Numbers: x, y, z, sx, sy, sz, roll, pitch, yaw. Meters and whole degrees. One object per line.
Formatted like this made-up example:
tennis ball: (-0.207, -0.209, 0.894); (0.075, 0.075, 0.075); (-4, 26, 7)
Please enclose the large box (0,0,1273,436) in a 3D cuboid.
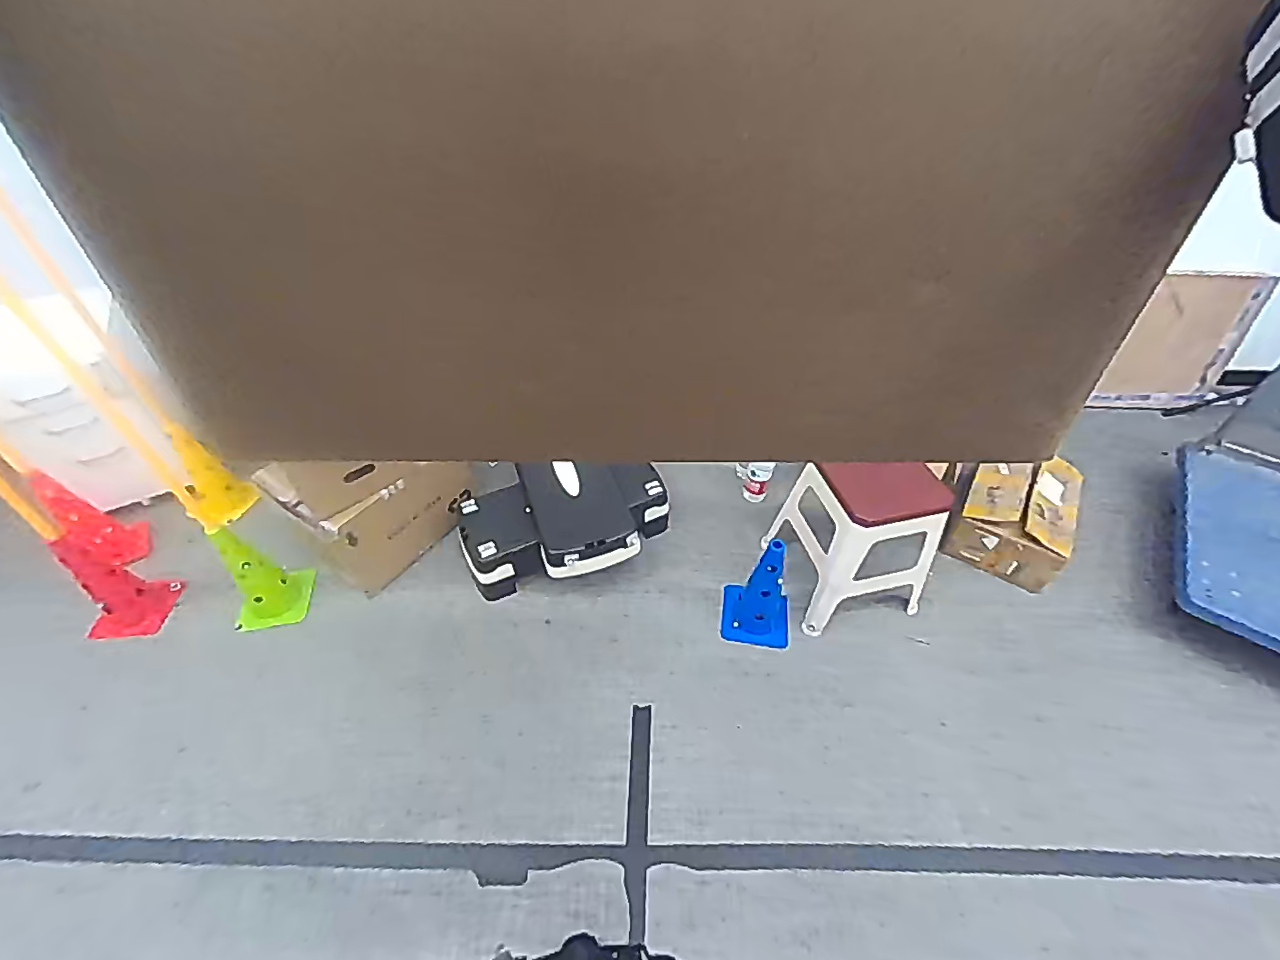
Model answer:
large box: (-0.002, -0.231, 0.288); (0.408, 0.320, 0.320); (1, 40, -1)
